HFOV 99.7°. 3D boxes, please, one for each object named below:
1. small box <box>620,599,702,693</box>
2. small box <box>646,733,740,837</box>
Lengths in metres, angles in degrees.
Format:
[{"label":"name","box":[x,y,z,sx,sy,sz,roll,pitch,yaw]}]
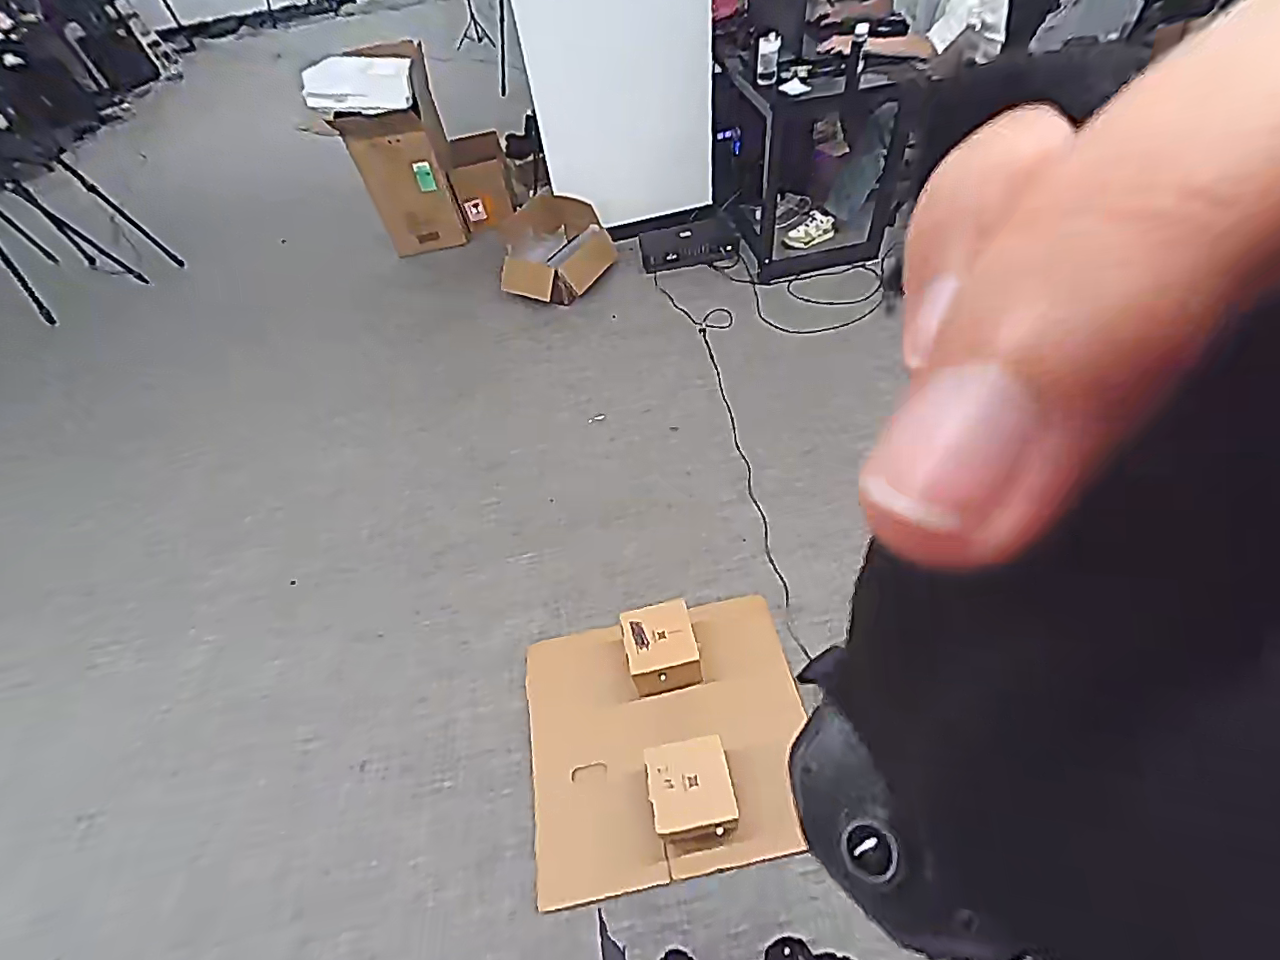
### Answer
[{"label":"small box","box":[0.058,0.440,1.422,0.179,0.176,0.168,-14,52,-1]},{"label":"small box","box":[0.119,0.688,1.217,0.179,0.176,0.168,-12,51,1]}]
